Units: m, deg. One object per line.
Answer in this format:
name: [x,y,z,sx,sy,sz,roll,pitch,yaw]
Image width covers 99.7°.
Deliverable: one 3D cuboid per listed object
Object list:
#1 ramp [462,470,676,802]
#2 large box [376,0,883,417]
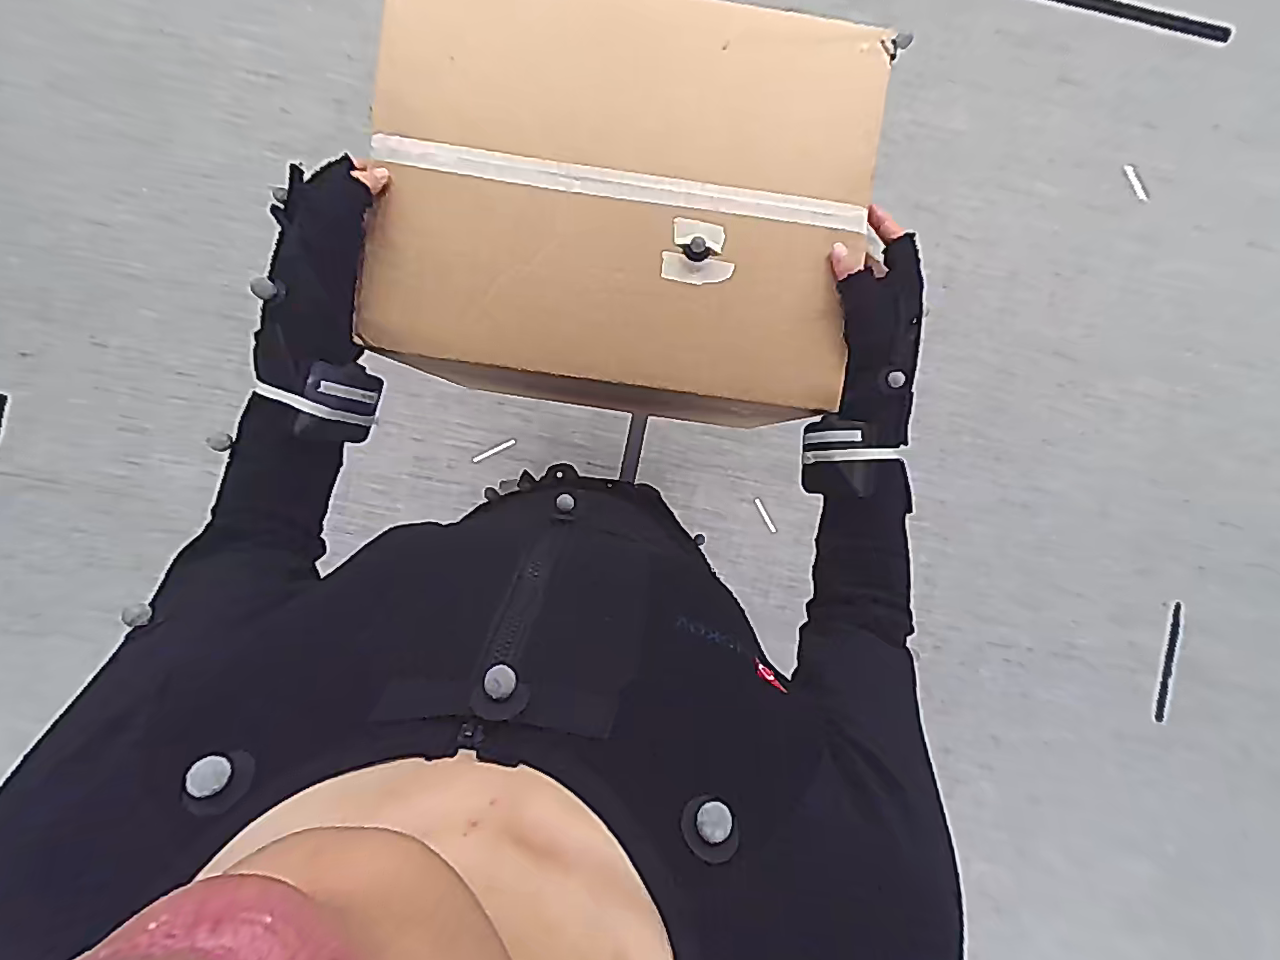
ramp: [-0.223,0.491,1.588,0.509,0.206,0.991,9,91,-4]
large box: [-0.015,-0.255,0.601,0.408,0.320,0.320,8,93,-3]
